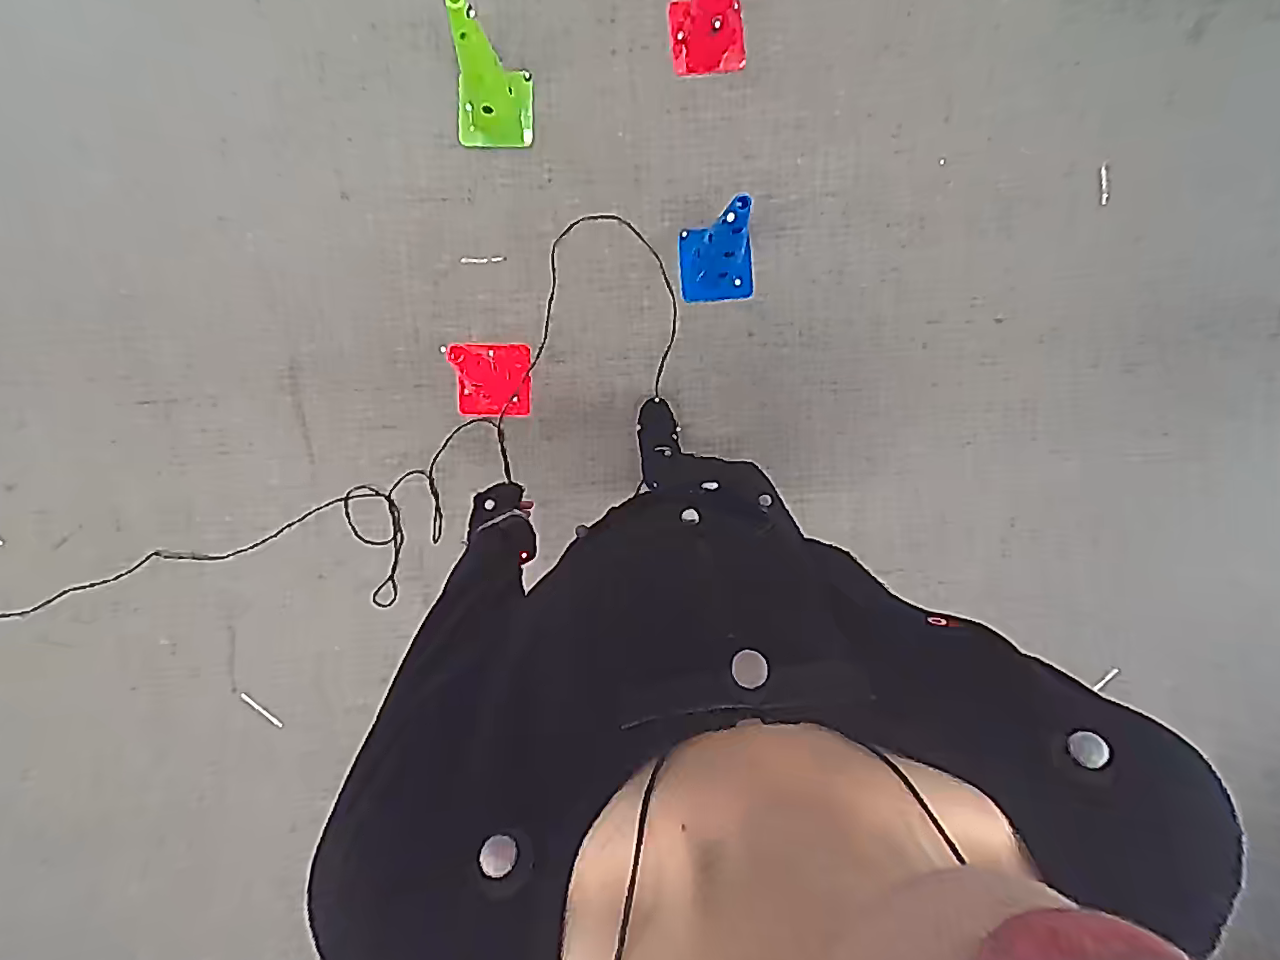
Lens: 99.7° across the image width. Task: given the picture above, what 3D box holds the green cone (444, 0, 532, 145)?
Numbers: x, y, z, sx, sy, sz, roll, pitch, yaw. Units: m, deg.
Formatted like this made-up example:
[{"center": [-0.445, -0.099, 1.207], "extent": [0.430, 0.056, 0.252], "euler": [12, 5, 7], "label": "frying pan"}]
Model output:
[{"center": [-0.392, -1.004, 1.291], "extent": [0.200, 0.368, 0.202], "euler": [-1, 92, -1], "label": "green cone"}]

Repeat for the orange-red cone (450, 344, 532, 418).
[{"center": [-0.390, -0.272, 1.312], "extent": [0.198, 0.360, 0.199], "euler": [1, 90, -2], "label": "orange-red cone"}]
